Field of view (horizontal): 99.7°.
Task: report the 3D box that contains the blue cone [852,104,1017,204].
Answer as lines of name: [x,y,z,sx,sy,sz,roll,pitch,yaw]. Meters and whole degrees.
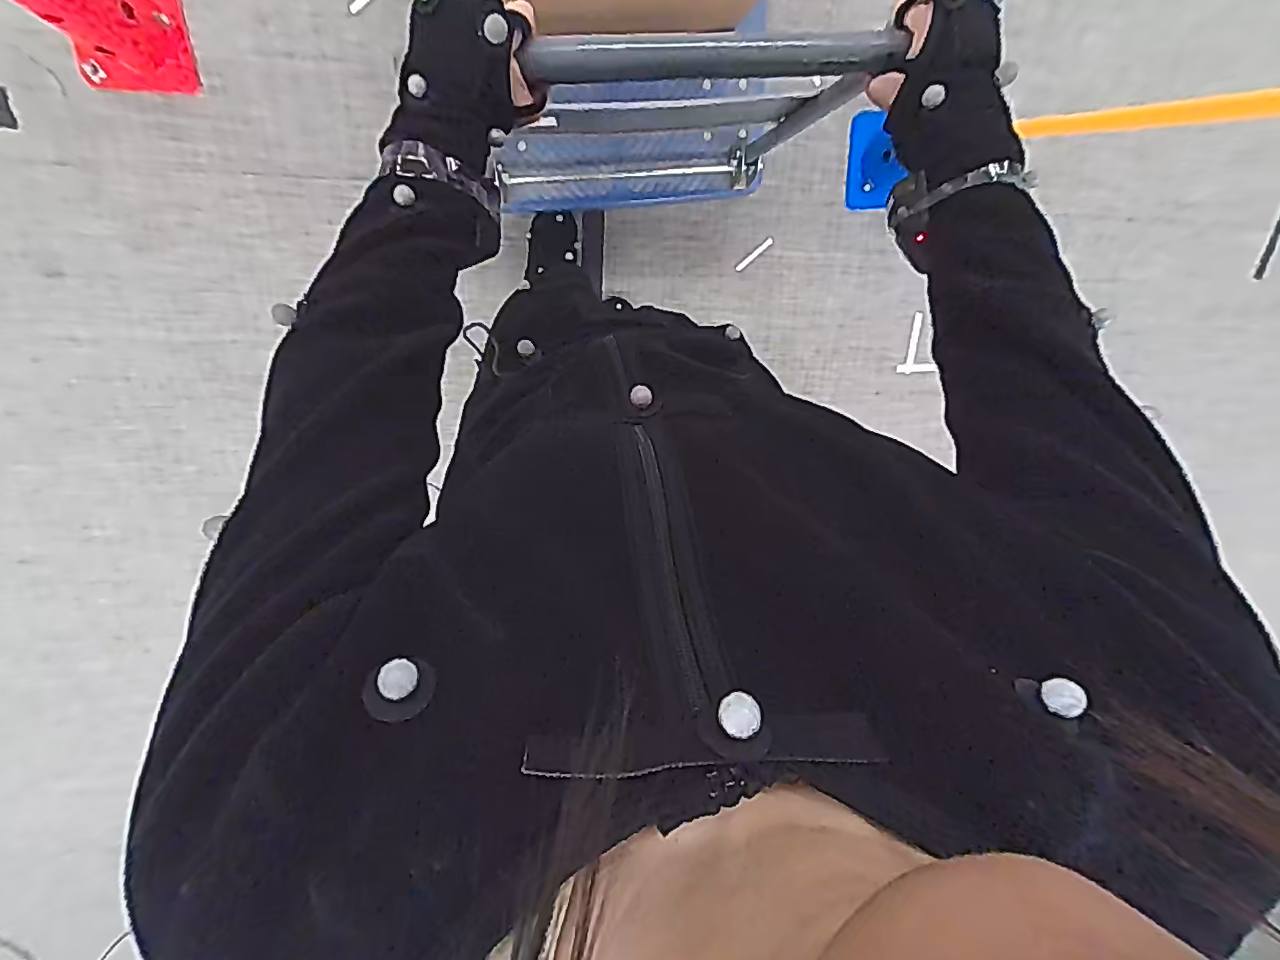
blue cone: [0.607,-0.685,1.102,0.193,0.380,0.192,-4,113,-7]
